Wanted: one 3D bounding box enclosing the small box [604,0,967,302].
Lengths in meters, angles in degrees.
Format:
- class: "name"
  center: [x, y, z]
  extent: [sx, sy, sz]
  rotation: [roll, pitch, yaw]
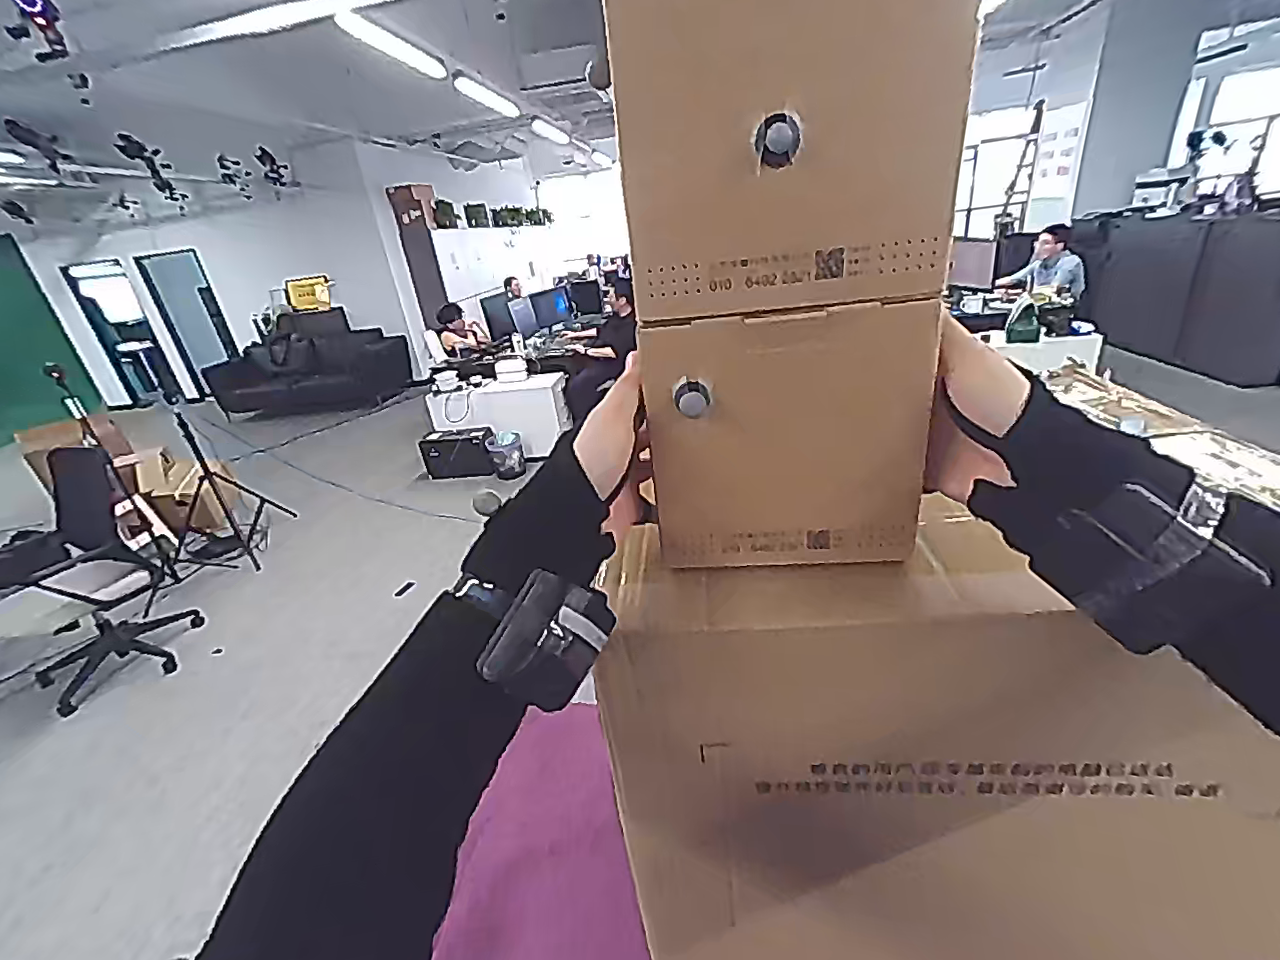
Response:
- class: "small box"
  center: [0.079, -0.209, 0.332]
  extent: [0.168, 0.176, 0.179]
  rotation: [-3, 25, 7]
